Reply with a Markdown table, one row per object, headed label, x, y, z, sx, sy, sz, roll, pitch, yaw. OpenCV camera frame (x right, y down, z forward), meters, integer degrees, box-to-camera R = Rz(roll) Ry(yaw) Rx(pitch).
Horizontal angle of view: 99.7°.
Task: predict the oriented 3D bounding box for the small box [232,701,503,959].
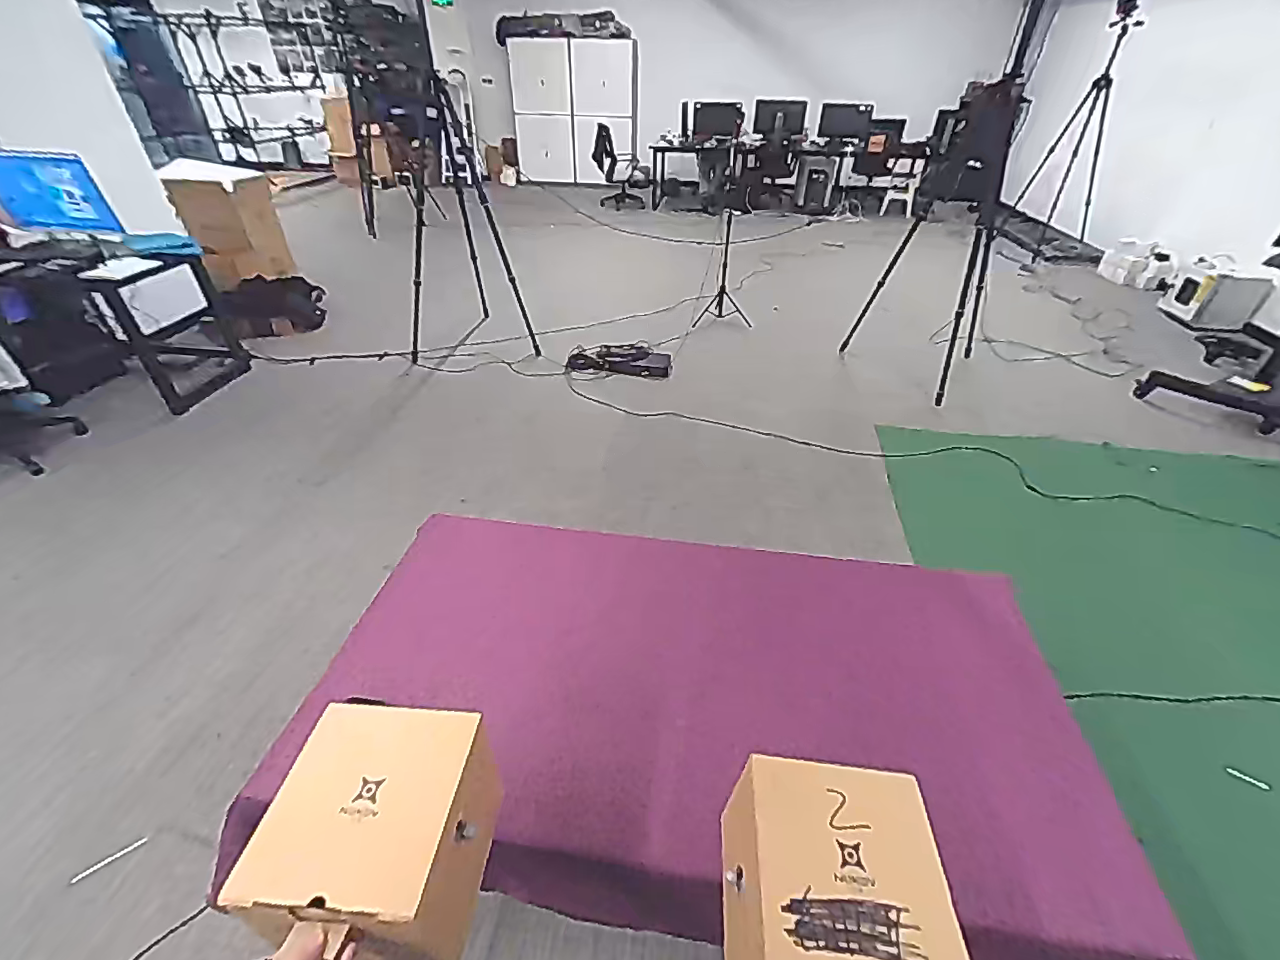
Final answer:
| label | x | y | z | sx | sy | sz | roll | pitch | yaw |
| --- | --- | --- | --- | --- | --- | --- | --- | --- | --- |
| small box | -0.245 | 0.354 | 0.545 | 0.168 | 0.176 | 0.179 | 3 | 37 | 3 |
